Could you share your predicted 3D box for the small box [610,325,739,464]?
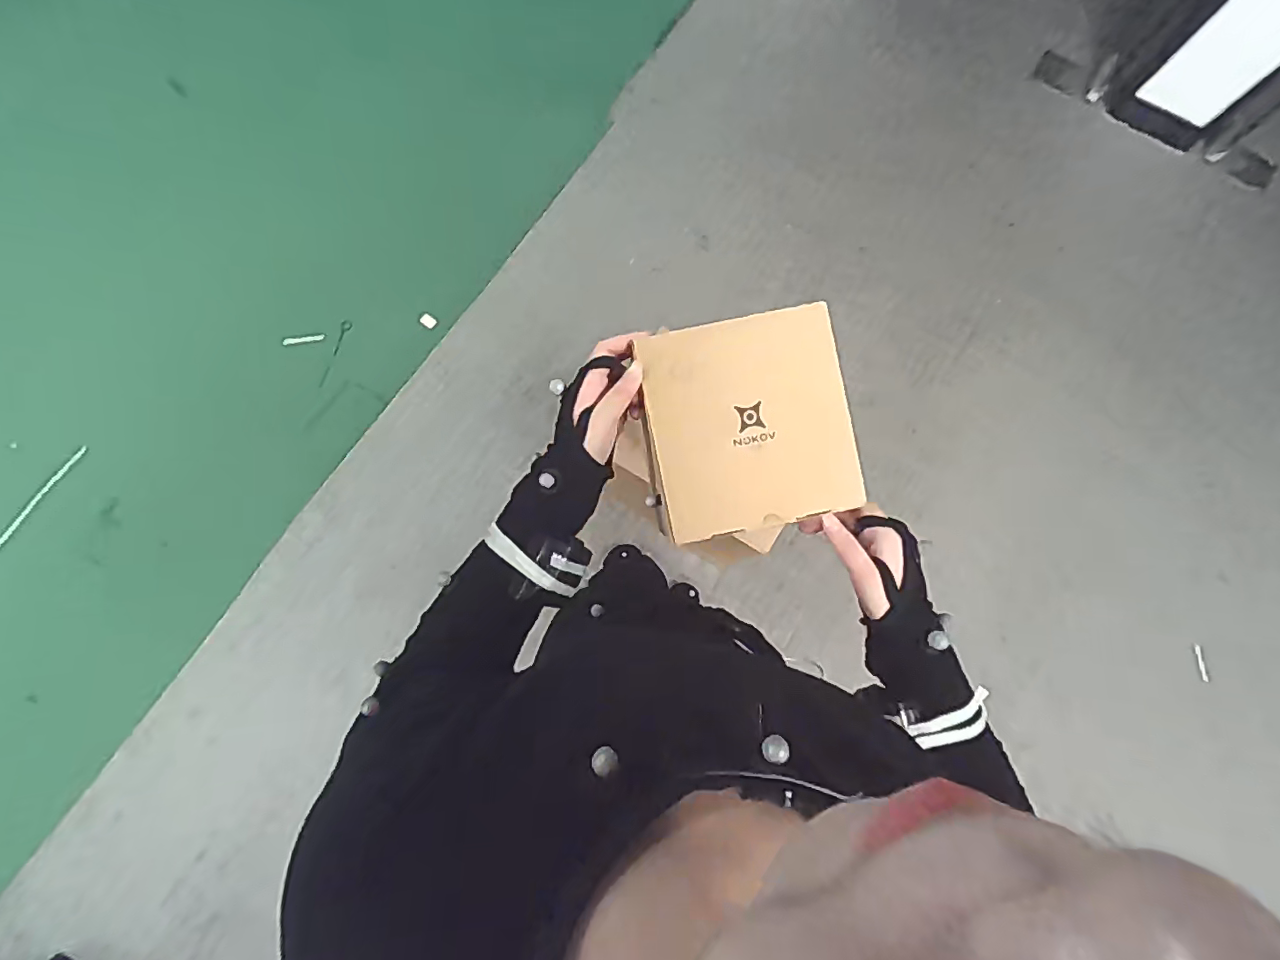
[{"bbox_3d":[0.062,-0.151,1.029,0.168,0.176,0.179,35,82,4],"label":"small box"}]
